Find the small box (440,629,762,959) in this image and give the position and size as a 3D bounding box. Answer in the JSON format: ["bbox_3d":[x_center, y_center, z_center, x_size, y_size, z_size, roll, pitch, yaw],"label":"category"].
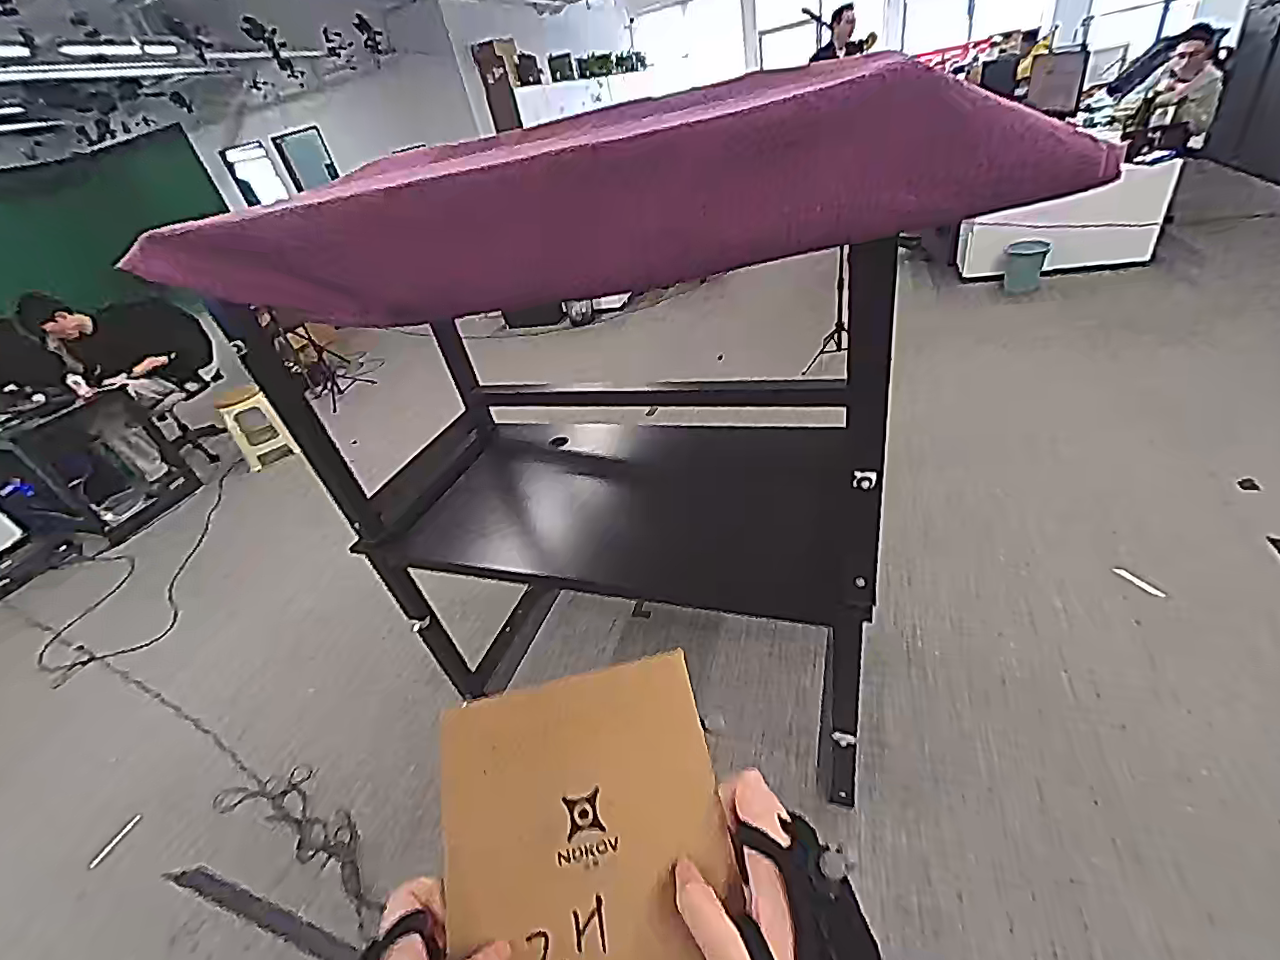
[{"bbox_3d":[-0.029,0.225,0.384,0.168,0.176,0.179,-13,62,-3],"label":"small box"}]
